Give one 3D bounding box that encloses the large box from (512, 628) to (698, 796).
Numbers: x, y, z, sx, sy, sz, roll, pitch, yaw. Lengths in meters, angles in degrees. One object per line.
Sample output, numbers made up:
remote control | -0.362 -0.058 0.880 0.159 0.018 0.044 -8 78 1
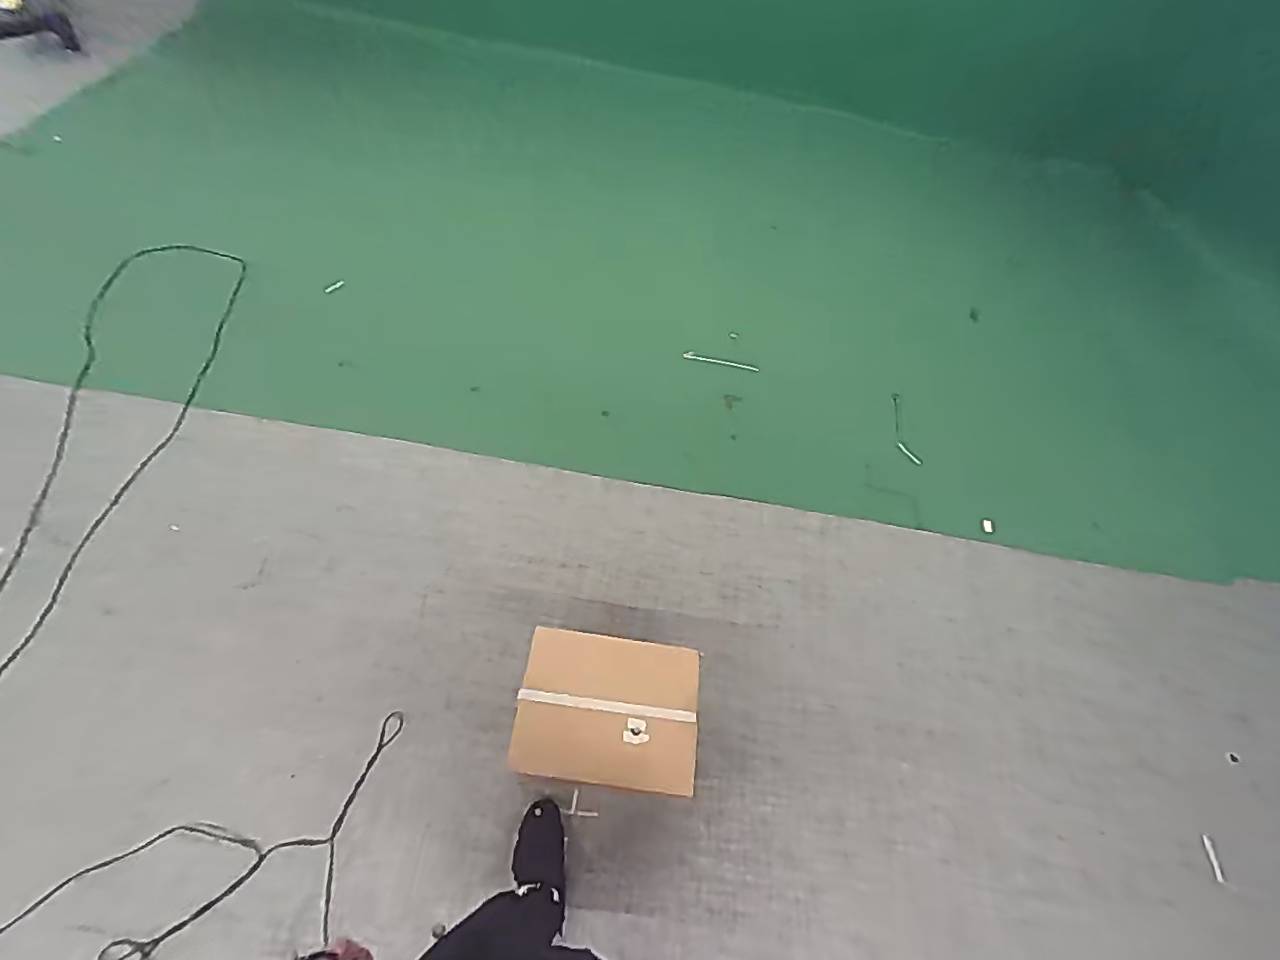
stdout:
large box | -0.086 0.591 1.357 0.408 0.320 0.320 9 57 -3
